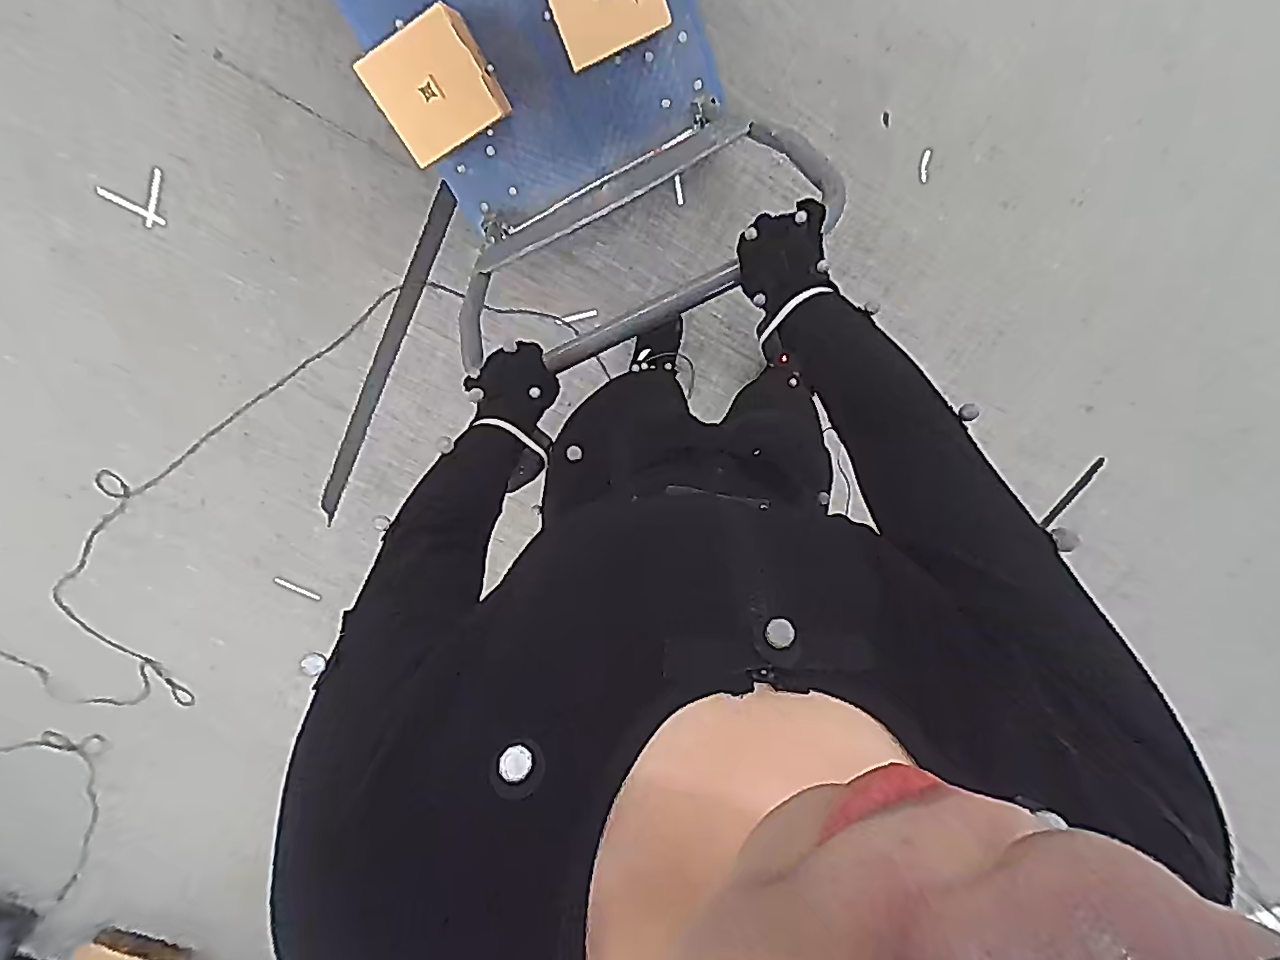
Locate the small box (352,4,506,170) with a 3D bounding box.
[{"bbox_3d":[-0.355,-0.678,0.949,0.179,0.176,0.168,-28,124,11],"label":"small box"}]

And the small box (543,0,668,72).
[{"bbox_3d":[-0.070,-0.805,0.893,0.179,0.176,0.168,-21,126,8],"label":"small box"}]
